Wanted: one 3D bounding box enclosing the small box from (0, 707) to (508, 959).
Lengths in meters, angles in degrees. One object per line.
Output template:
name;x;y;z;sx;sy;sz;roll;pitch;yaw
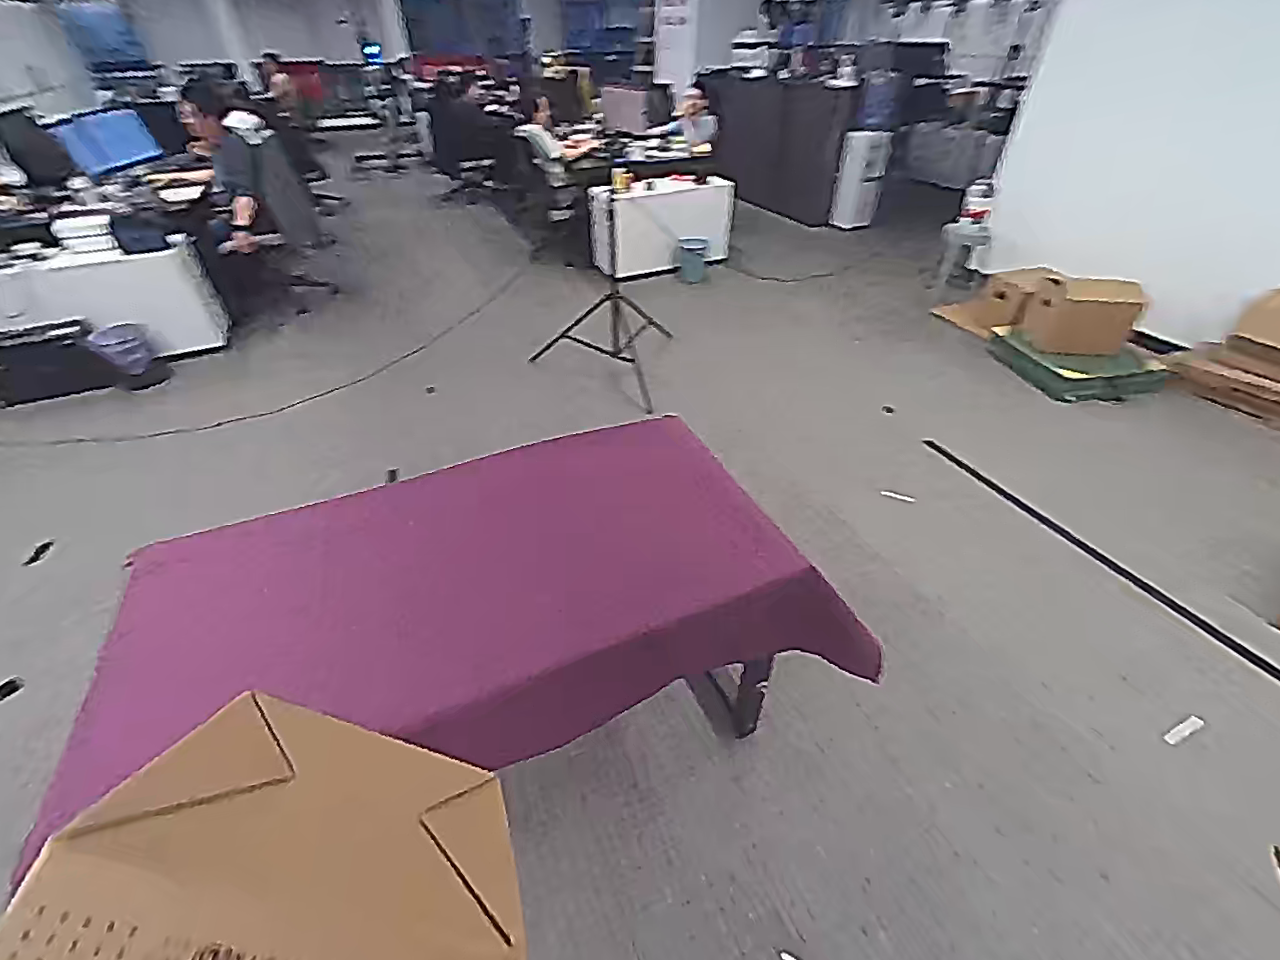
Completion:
small box;-0.174;0.224;0.250;0.168;0.179;0.176;25;75;-14
